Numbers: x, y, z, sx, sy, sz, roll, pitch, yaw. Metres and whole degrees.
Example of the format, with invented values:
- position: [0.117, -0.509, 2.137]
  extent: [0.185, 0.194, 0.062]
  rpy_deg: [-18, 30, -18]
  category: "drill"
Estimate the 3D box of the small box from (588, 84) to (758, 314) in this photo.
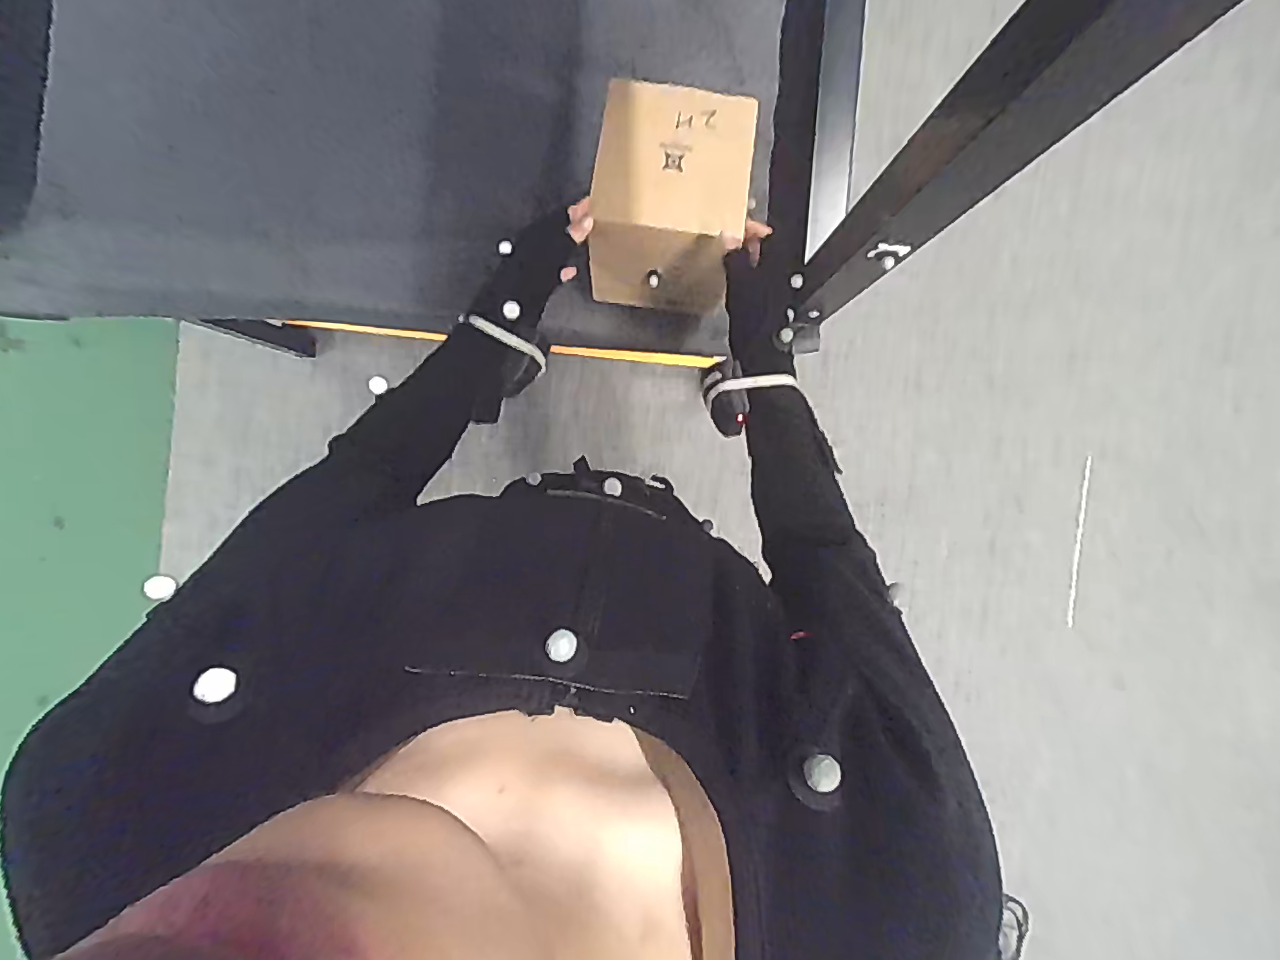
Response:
- position: [0.034, -0.324, 0.655]
  extent: [0.168, 0.176, 0.179]
  rpy_deg: [8, 79, -2]
  category: "small box"
